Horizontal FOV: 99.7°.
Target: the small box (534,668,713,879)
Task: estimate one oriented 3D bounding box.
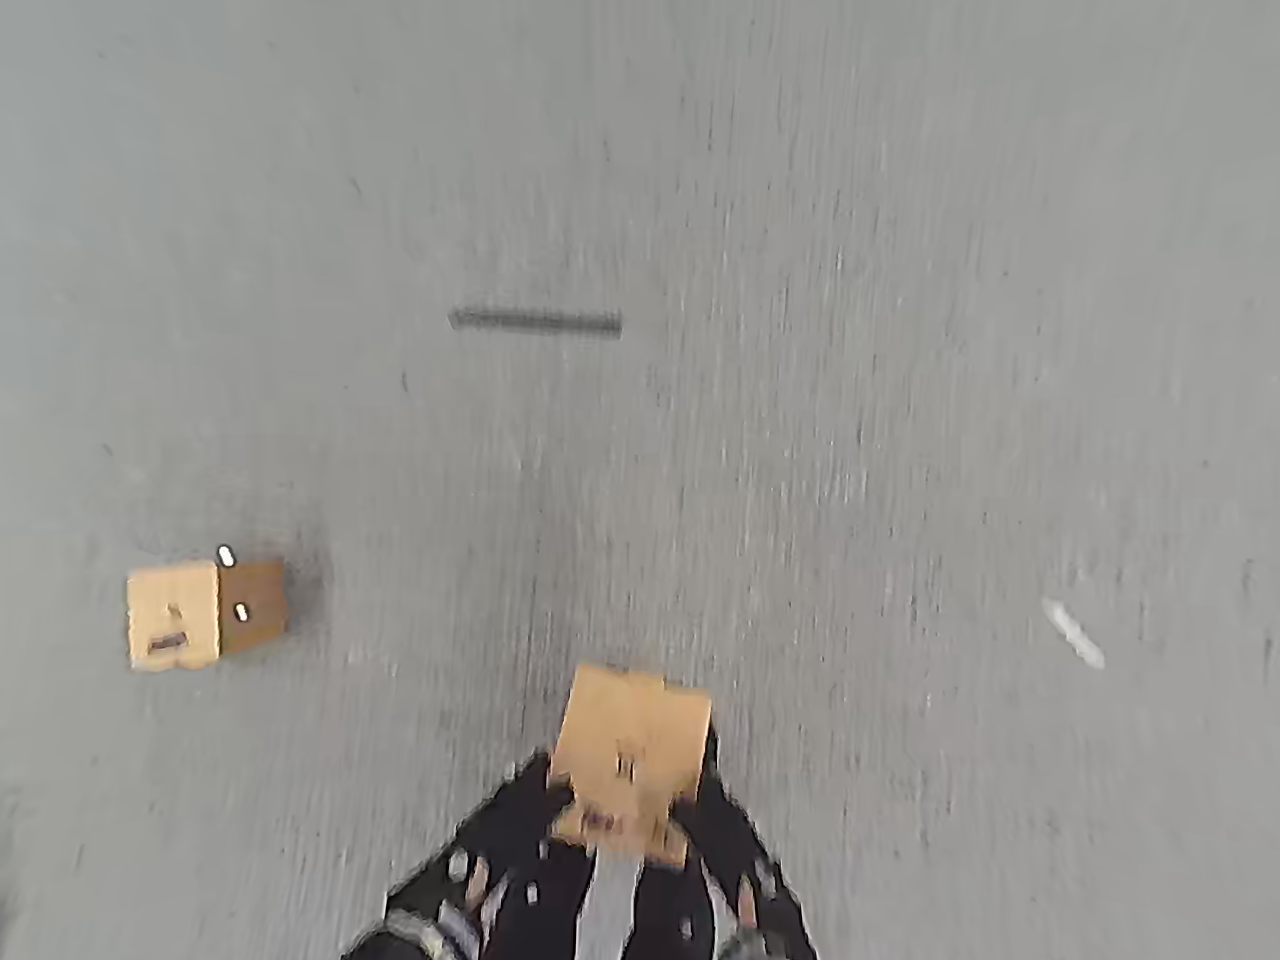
[{"bbox_3d":[-0.021,0.344,0.664,0.168,0.176,0.179,15,68,0],"label":"small box"}]

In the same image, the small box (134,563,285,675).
[{"bbox_3d":[-0.823,0.261,1.048,0.168,0.176,0.179,-7,84,1],"label":"small box"}]
